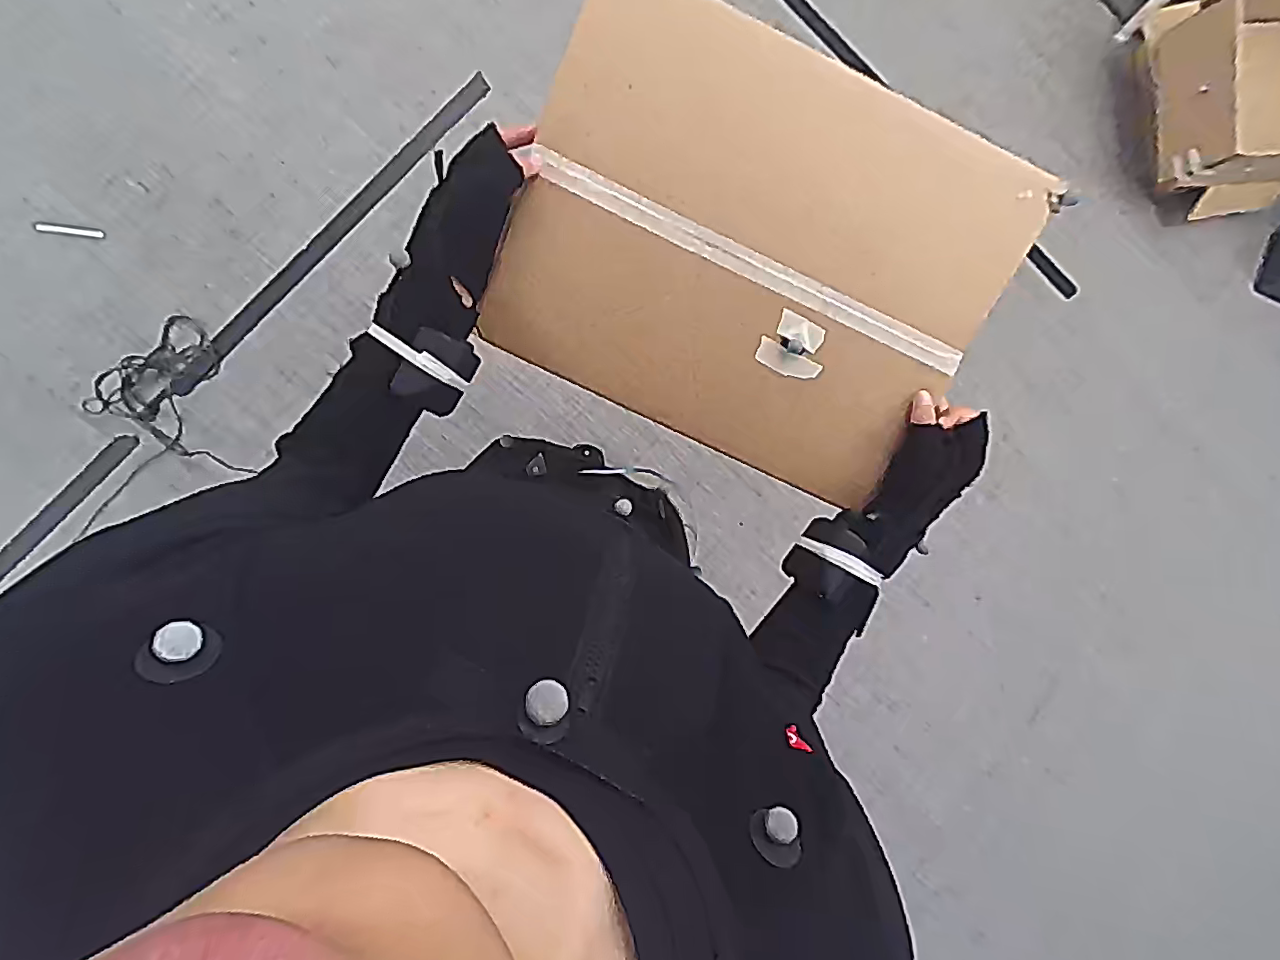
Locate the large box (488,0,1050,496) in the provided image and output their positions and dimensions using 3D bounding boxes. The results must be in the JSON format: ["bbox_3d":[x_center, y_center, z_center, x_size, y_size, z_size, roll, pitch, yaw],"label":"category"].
[{"bbox_3d":[0.104,-0.234,0.614,0.408,0.320,0.320,25,107,-5],"label":"large box"}]
